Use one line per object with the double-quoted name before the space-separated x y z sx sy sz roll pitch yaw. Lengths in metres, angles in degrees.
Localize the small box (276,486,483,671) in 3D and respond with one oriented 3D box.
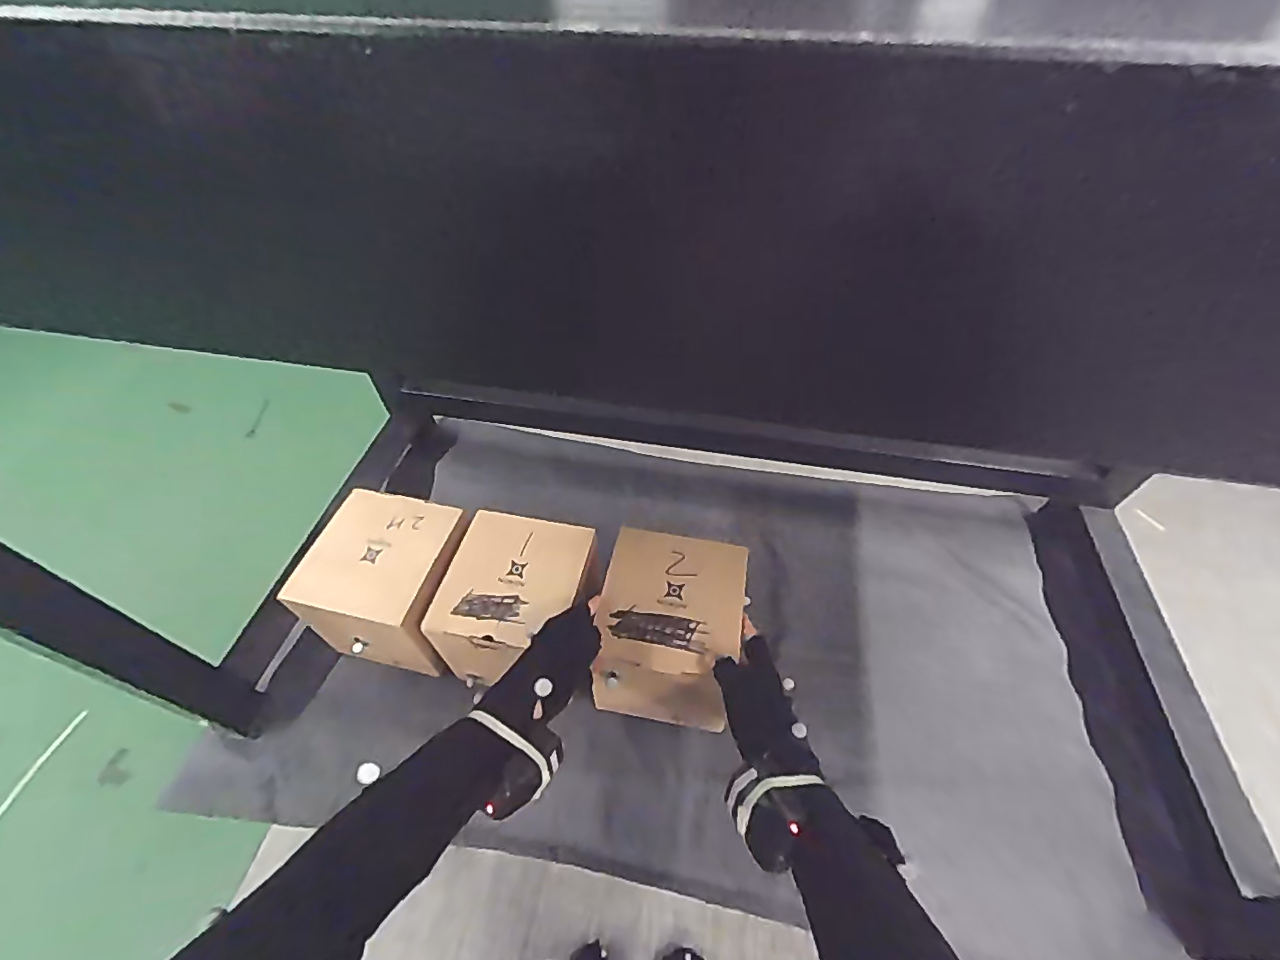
"small box" -0.334 0.138 0.739 0.168 0.176 0.179 11 51 8
